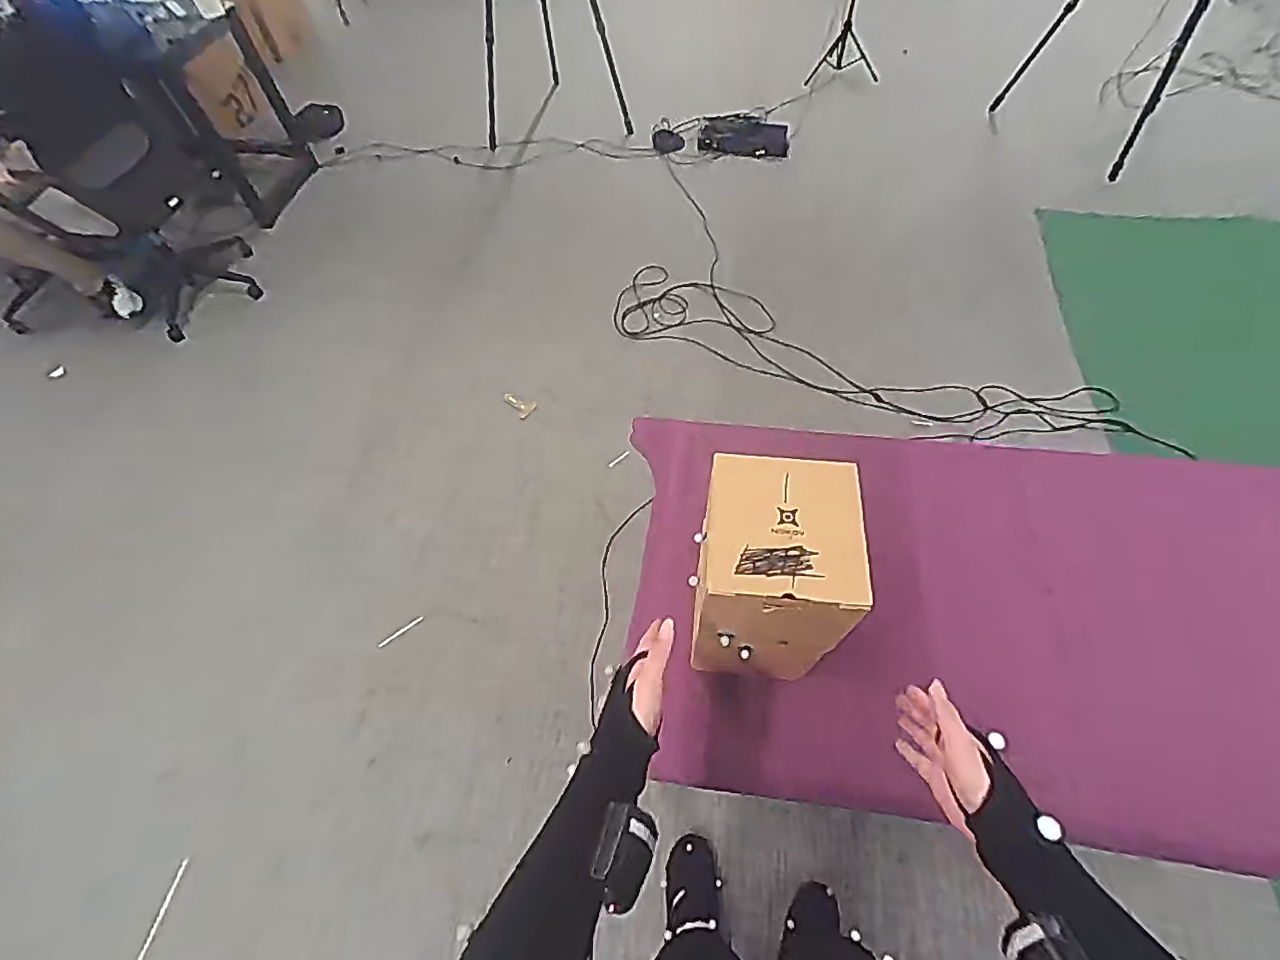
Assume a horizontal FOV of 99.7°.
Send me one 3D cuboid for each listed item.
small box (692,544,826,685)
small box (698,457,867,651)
[{"bbox_3d":[0.165,0.183,0.789,0.168,0.176,0.179,4,58,6],"label":"small box"},{"bbox_3d":[0.158,0.094,0.650,0.168,0.176,0.179,4,57,6],"label":"small box"}]
